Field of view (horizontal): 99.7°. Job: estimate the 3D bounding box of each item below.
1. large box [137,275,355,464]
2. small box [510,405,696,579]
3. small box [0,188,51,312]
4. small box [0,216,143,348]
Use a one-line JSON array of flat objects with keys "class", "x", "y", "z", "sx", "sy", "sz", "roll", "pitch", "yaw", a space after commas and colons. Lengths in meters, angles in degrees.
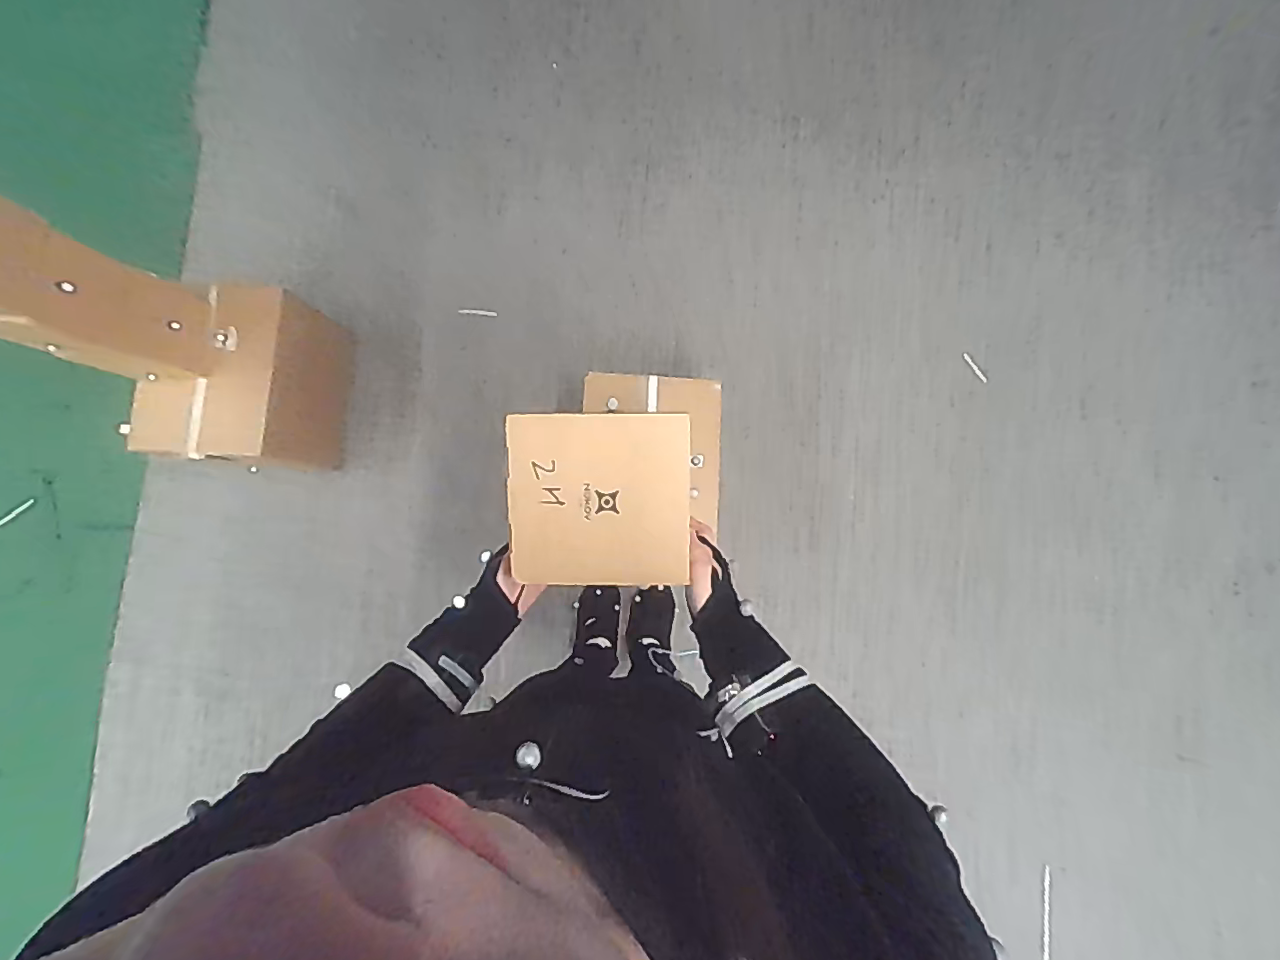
[{"class": "large box", "x": -0.976, "y": -0.259, "z": 1.385, "sx": 0.320, "sy": 0.320, "sz": 0.408, "roll": 4, "pitch": 84, "yaw": 2}, {"class": "small box", "x": -0.034, "y": 0.003, "z": 0.593, "sx": 0.179, "sy": 0.176, "sz": 0.168, "roll": 1, "pitch": 97, "yaw": 2}, {"class": "small box", "x": -1.072, "y": -0.378, "z": 0.825, "sx": 0.168, "sy": 0.176, "sz": 0.179, "roll": 5, "pitch": 86, "yaw": 5}, {"class": "small box", "x": -1.067, "y": -0.357, "z": 0.987, "sx": 0.168, "sy": 0.176, "sz": 0.179, "roll": 3, "pitch": 86, "yaw": 4}]
